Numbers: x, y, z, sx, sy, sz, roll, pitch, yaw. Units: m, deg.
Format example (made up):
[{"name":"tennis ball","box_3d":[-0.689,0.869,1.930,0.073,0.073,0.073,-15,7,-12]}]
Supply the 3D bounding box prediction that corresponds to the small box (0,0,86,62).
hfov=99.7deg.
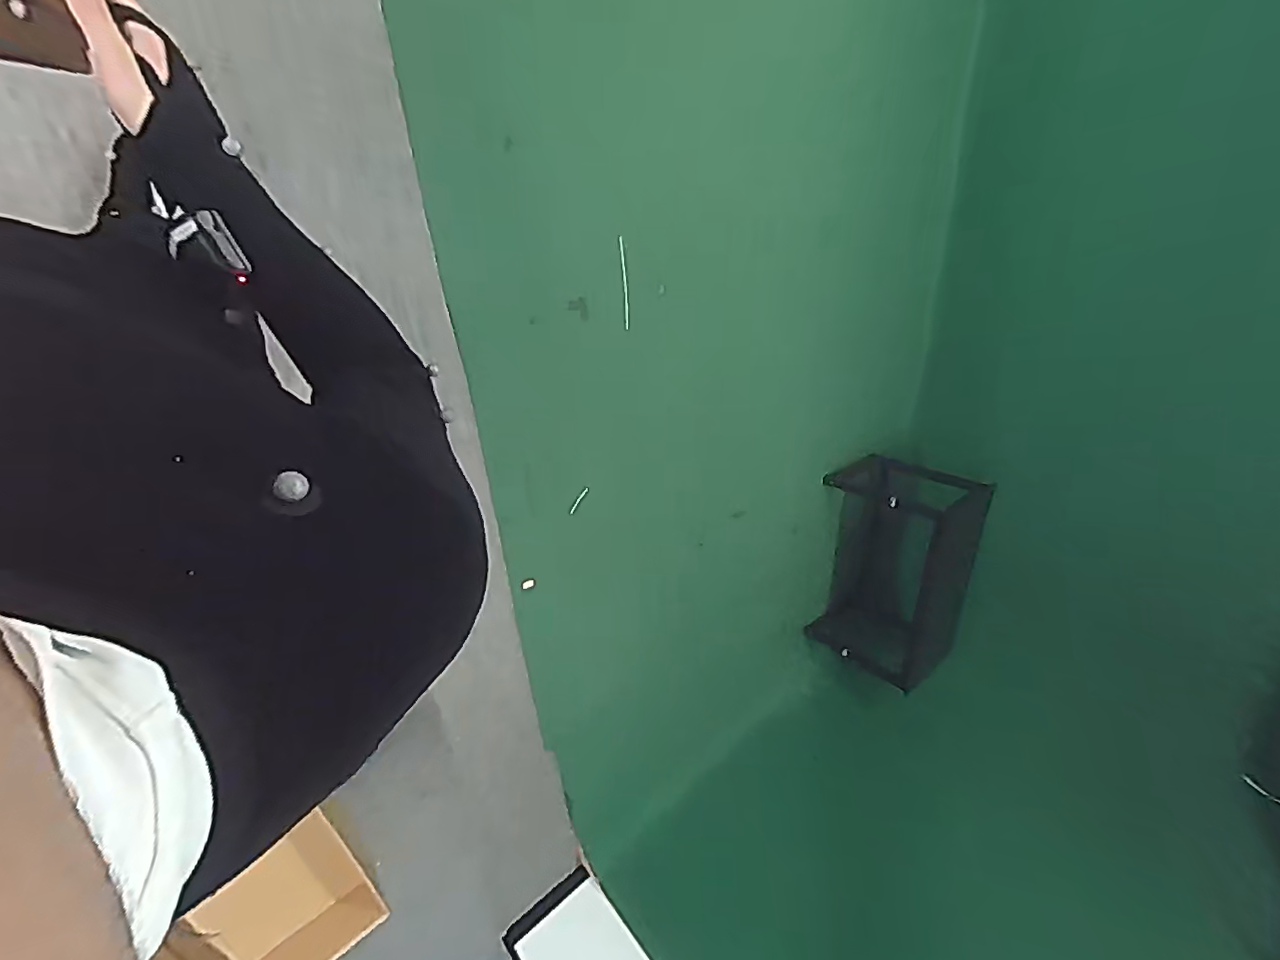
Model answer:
[{"name":"small box","box_3d":[-0.529,-0.432,0.375,0.179,0.176,0.168,-19,111,-43]}]
